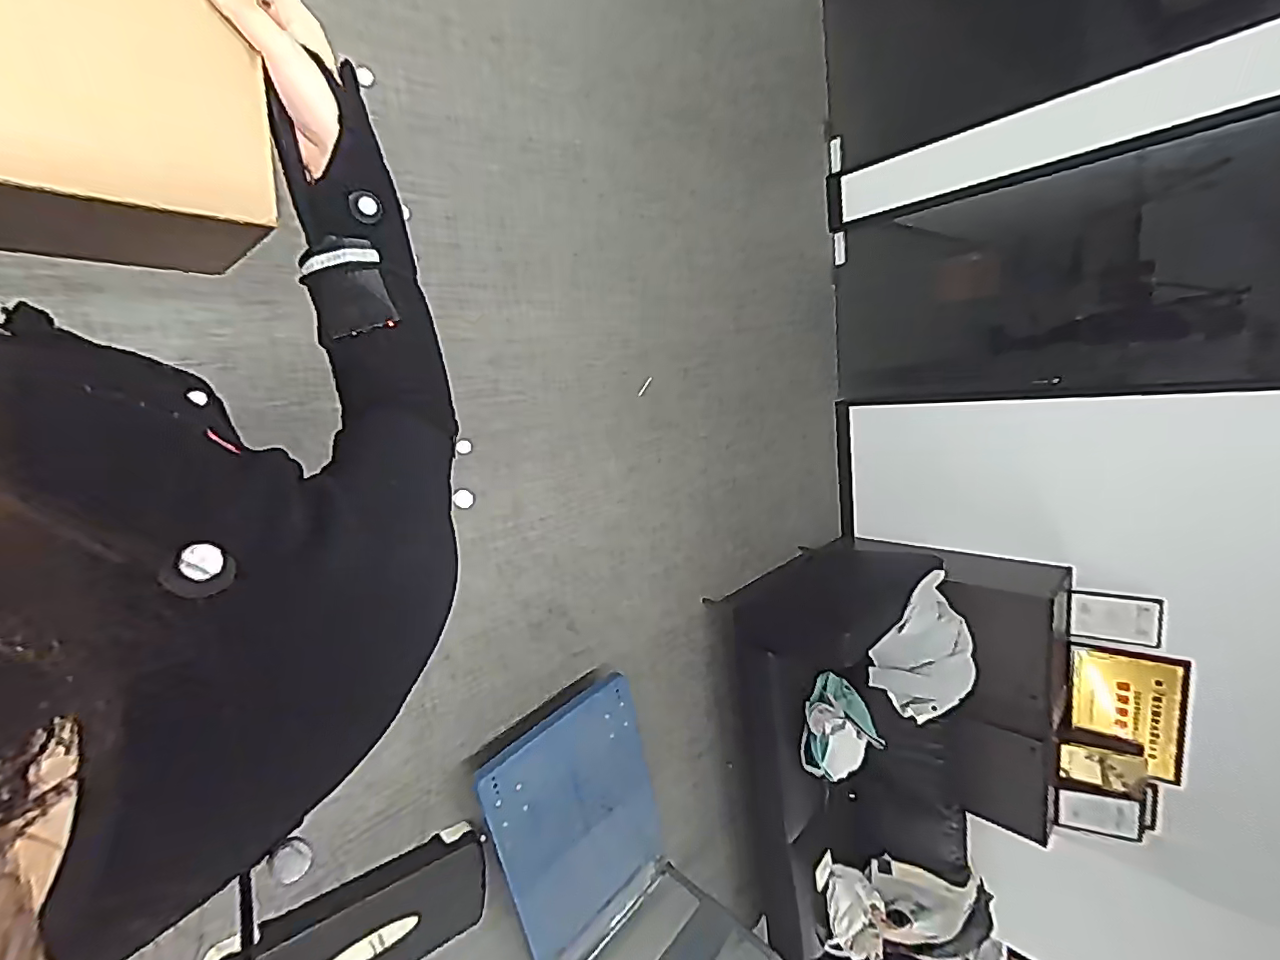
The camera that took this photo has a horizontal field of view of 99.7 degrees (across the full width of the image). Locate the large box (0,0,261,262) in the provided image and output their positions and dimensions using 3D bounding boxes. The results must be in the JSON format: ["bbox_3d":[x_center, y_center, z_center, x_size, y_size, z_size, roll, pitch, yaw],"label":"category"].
[{"bbox_3d":[-0.509,-0.331,0.329,0.408,0.320,0.320,-9,106,-41],"label":"large box"}]
